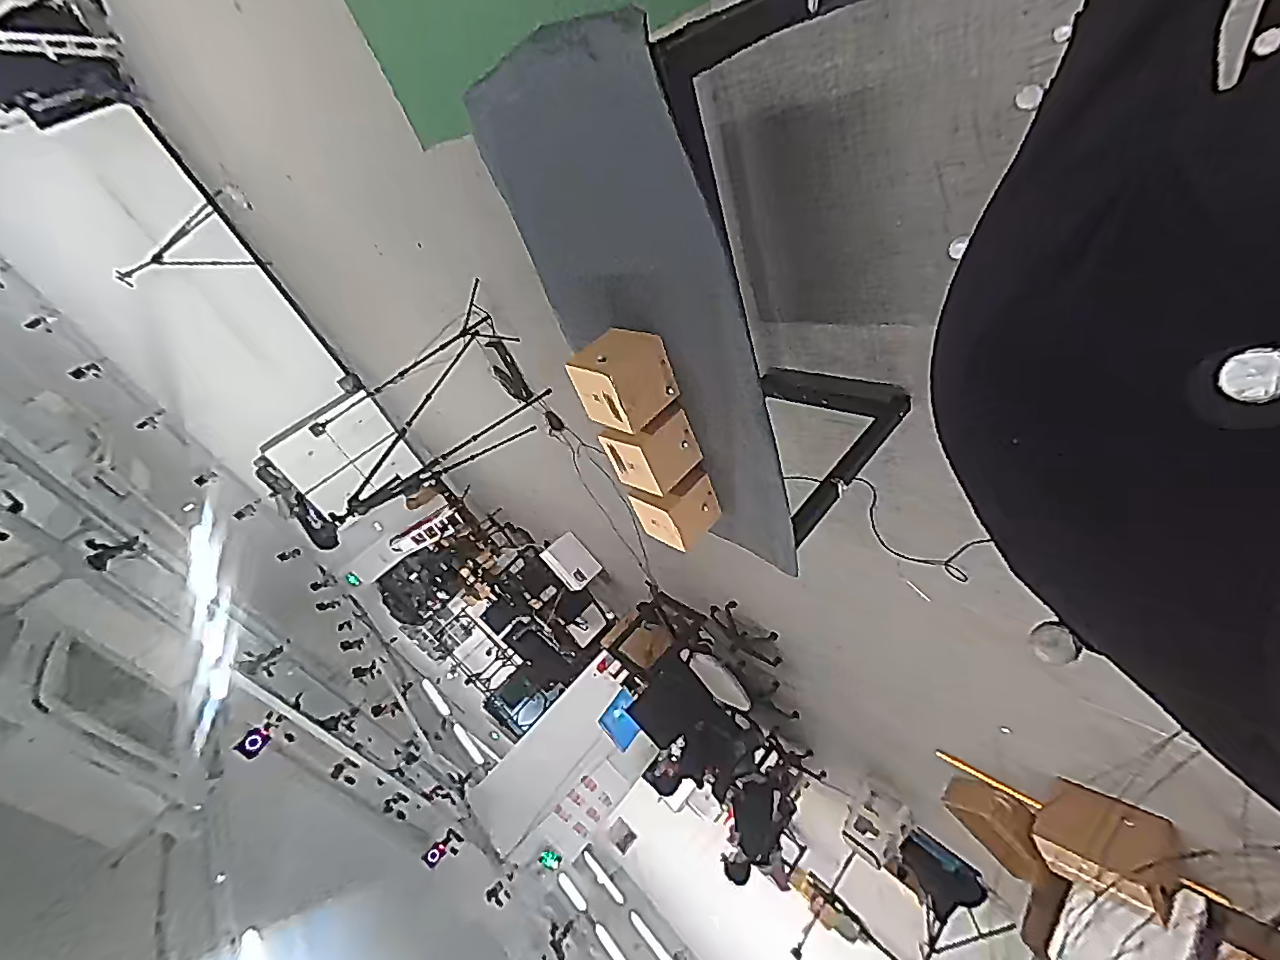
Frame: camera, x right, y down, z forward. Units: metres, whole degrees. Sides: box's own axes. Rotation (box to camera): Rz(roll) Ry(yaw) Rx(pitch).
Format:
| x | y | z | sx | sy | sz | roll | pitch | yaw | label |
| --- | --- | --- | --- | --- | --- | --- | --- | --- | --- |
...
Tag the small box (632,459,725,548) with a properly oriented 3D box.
| x | y | z | sx | sy | sz | roll | pitch | yaw | label |
| --- | --- | --- | --- | --- | --- | --- | --- | --- | --- |
| 0.113 | 0.059 | 1.549 | 0.179 | 0.176 | 0.168 | 21 | 147 | 46 | small box |
